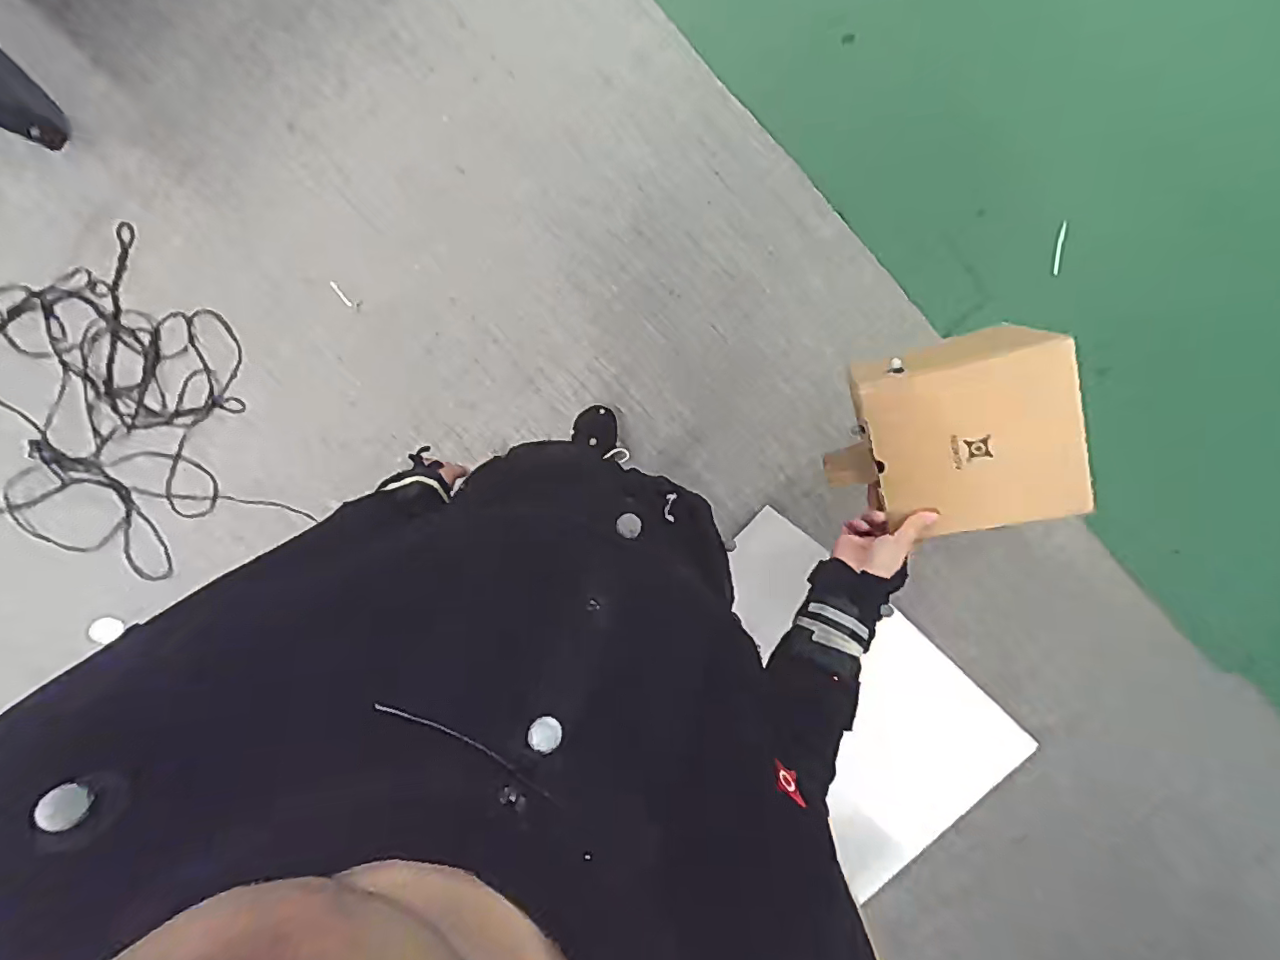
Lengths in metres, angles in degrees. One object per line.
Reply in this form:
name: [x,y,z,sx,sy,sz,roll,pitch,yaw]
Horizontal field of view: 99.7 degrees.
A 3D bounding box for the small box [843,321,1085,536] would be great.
small box: [0.328,-0.062,0.579,0.179,0.176,0.168,-14,105,22]
